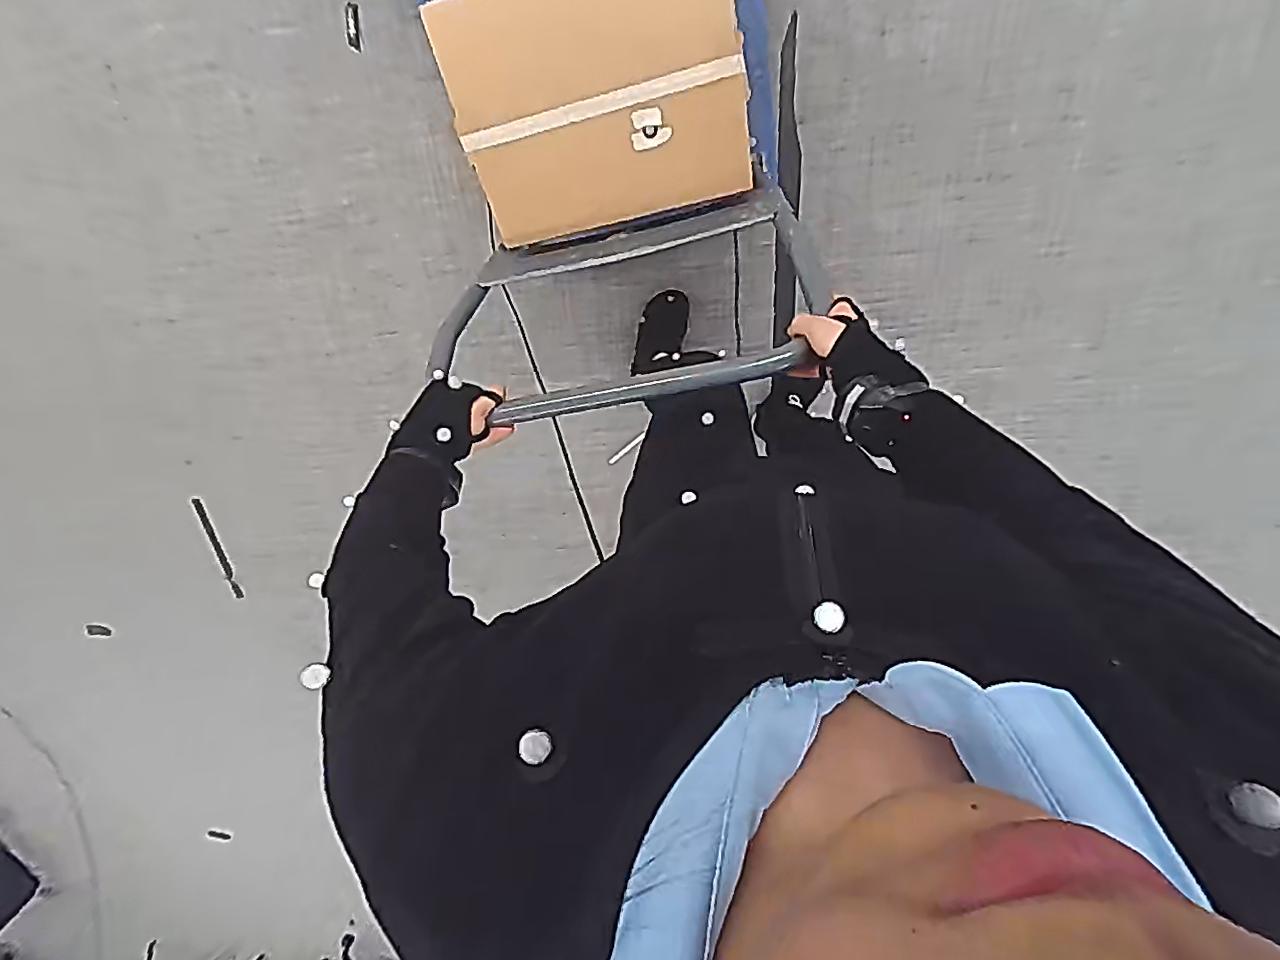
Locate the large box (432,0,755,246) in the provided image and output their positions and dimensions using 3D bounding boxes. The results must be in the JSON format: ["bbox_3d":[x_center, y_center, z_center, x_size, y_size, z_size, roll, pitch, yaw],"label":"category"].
[{"bbox_3d":[-0.047,-0.624,0.887,0.408,0.320,0.320,-9,127,10],"label":"large box"}]
